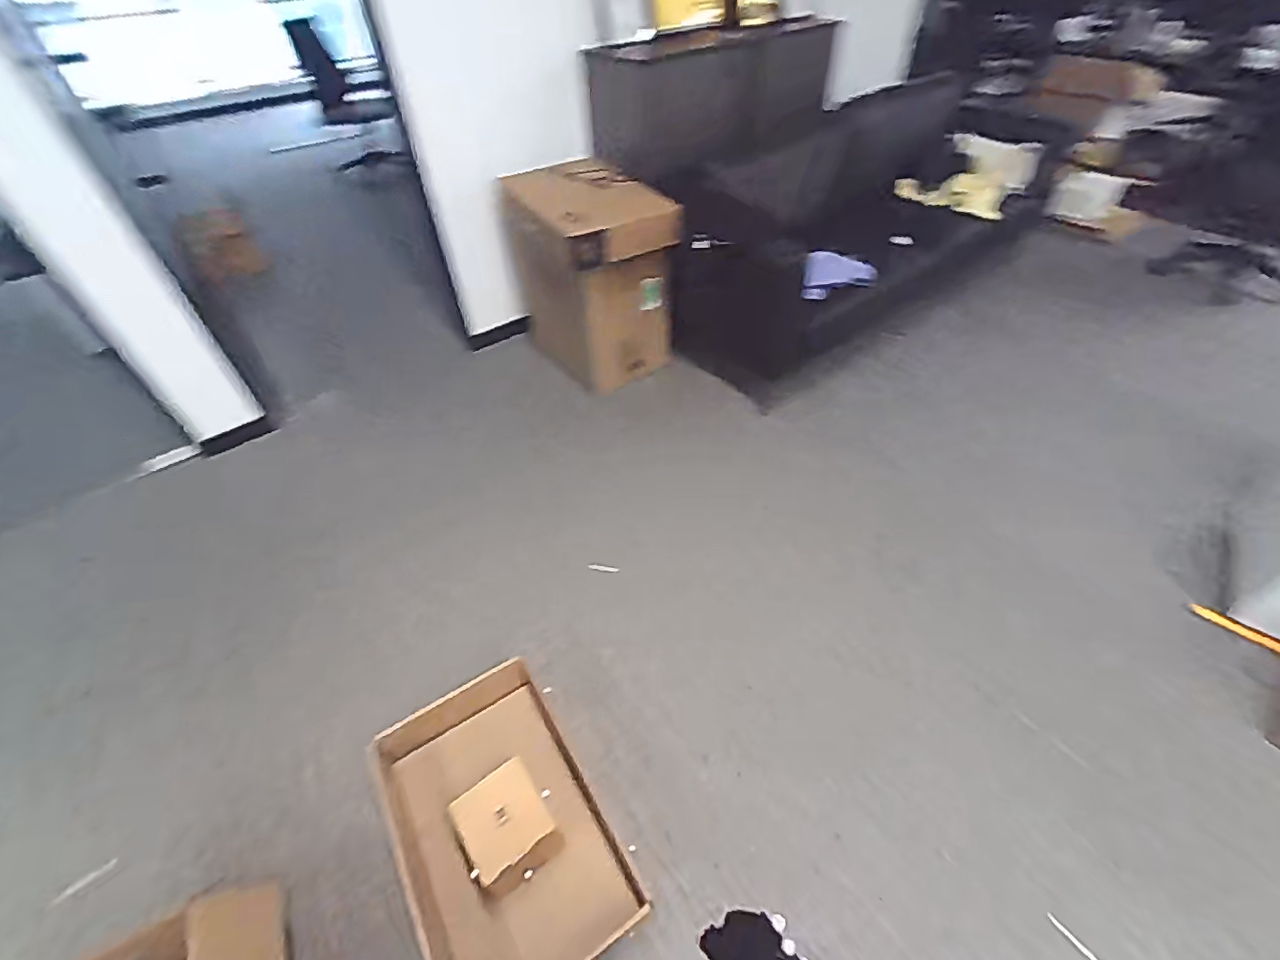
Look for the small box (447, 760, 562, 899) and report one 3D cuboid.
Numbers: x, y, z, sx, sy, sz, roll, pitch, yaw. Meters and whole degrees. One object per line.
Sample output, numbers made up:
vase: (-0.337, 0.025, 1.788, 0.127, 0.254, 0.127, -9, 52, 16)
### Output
small box: (-0.287, 0.754, 1.164, 0.168, 0.176, 0.179, -30, 52, -25)
